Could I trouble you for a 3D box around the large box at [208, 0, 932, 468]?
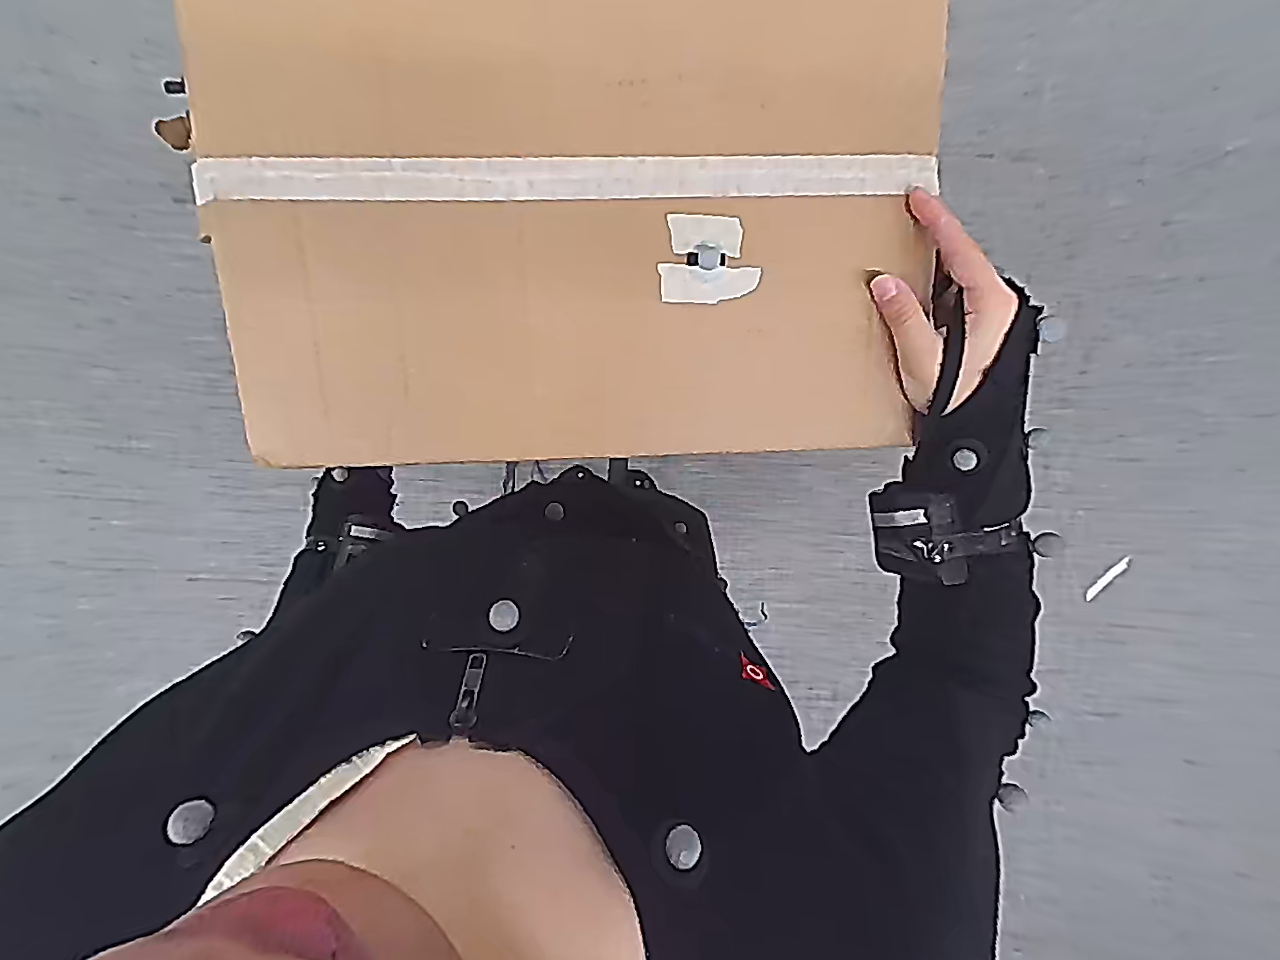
[{"bbox_3d":[-0.040,-0.195,0.460,0.408,0.320,0.320,-3,101,-5],"label":"large box"}]
